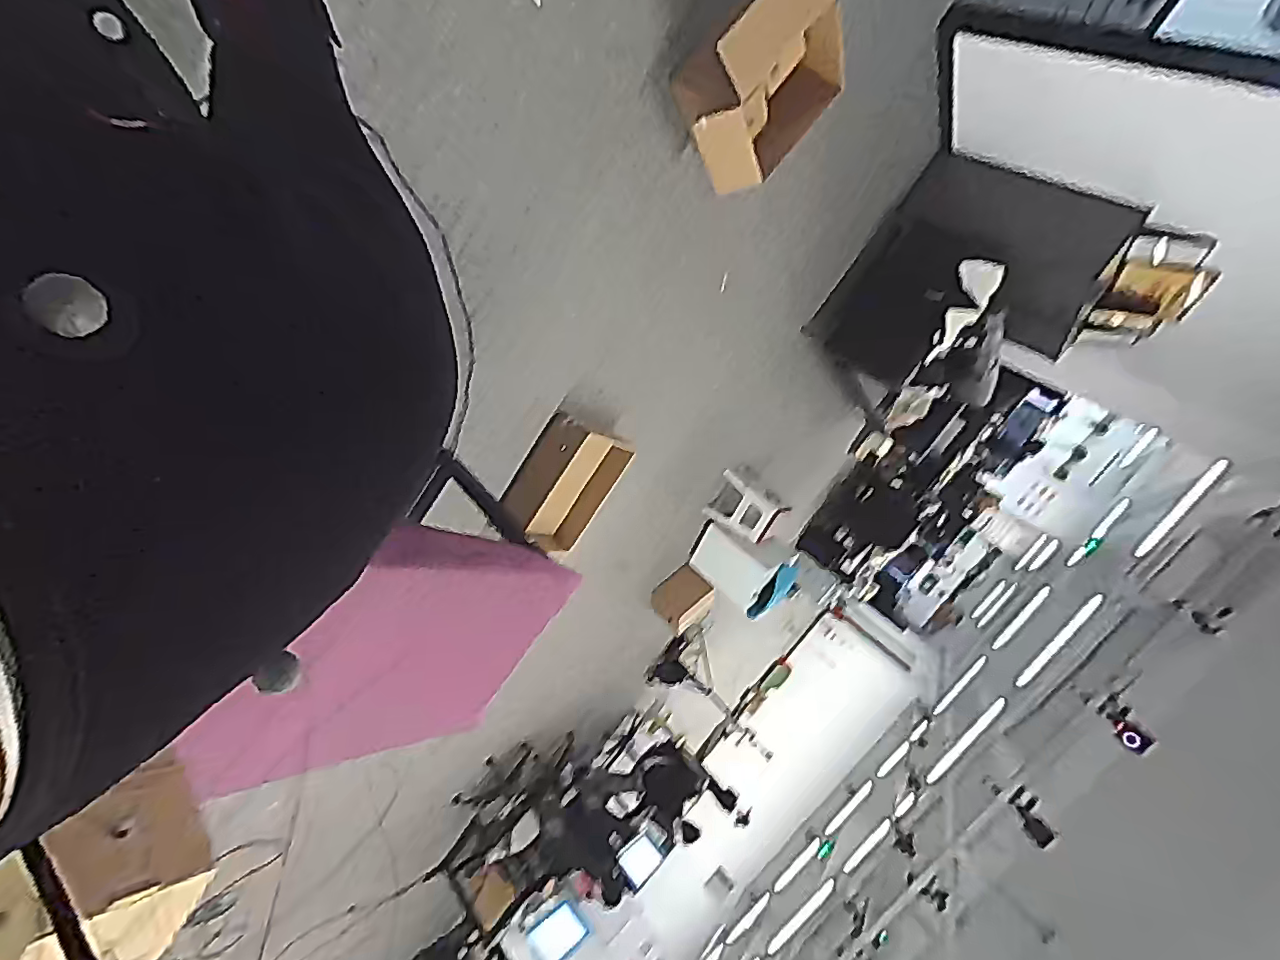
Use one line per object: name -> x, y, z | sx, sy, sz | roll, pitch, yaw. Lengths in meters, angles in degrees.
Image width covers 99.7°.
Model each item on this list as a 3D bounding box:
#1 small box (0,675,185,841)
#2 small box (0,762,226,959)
small box -> -0.781, 0.389, 0.742 | 0.179, 0.176, 0.168 | -54, 151, 9
small box -> -0.668, 0.483, 0.670 | 0.179, 0.176, 0.168 | -55, 151, 8
